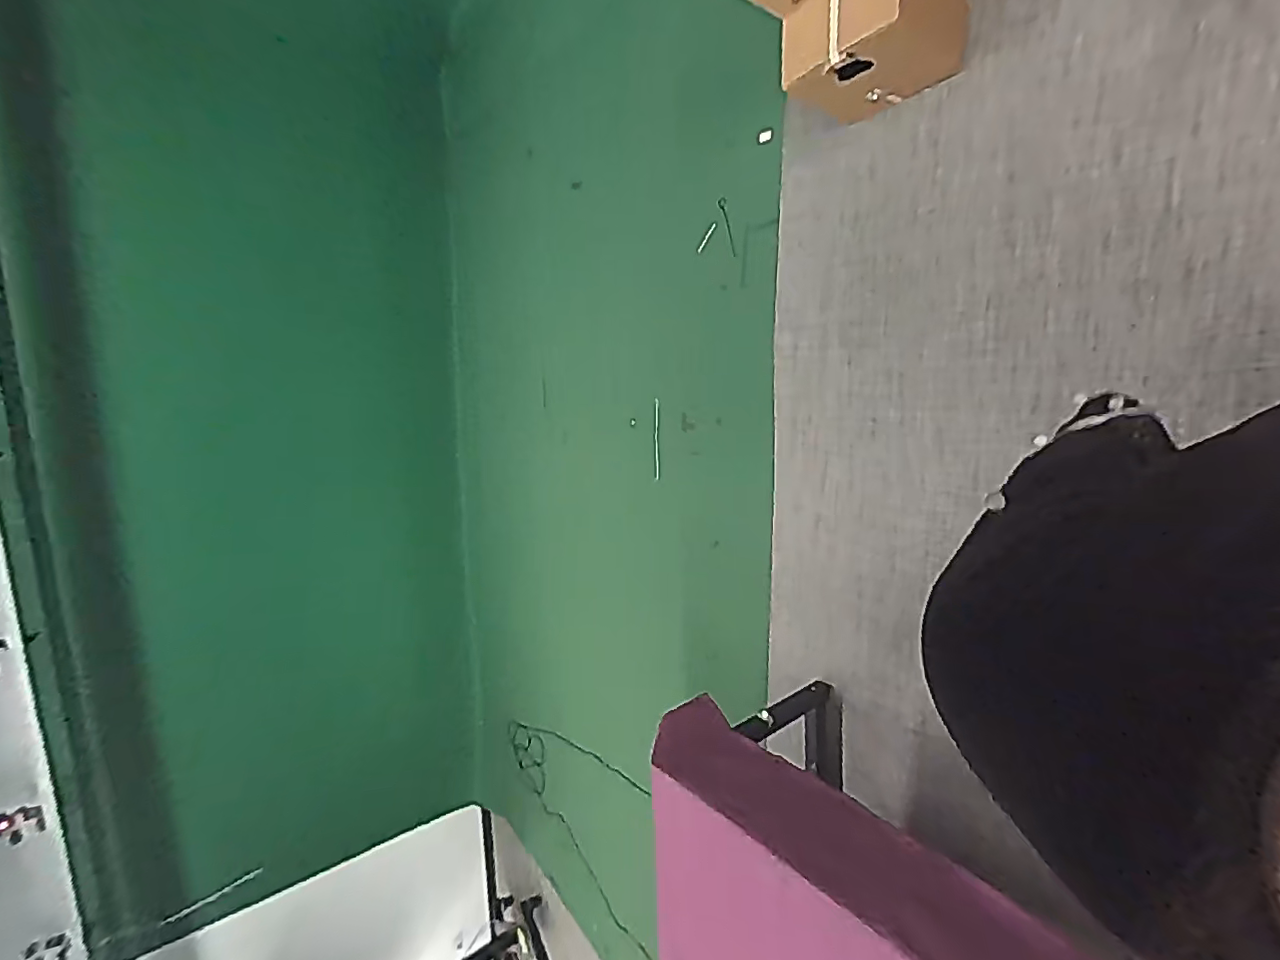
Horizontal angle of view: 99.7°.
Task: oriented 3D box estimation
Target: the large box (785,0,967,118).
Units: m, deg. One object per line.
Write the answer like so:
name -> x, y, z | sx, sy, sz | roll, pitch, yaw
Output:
large box -> 0.579, -1.213, 1.332 | 0.320, 0.320, 0.408 | 9, 102, 53
